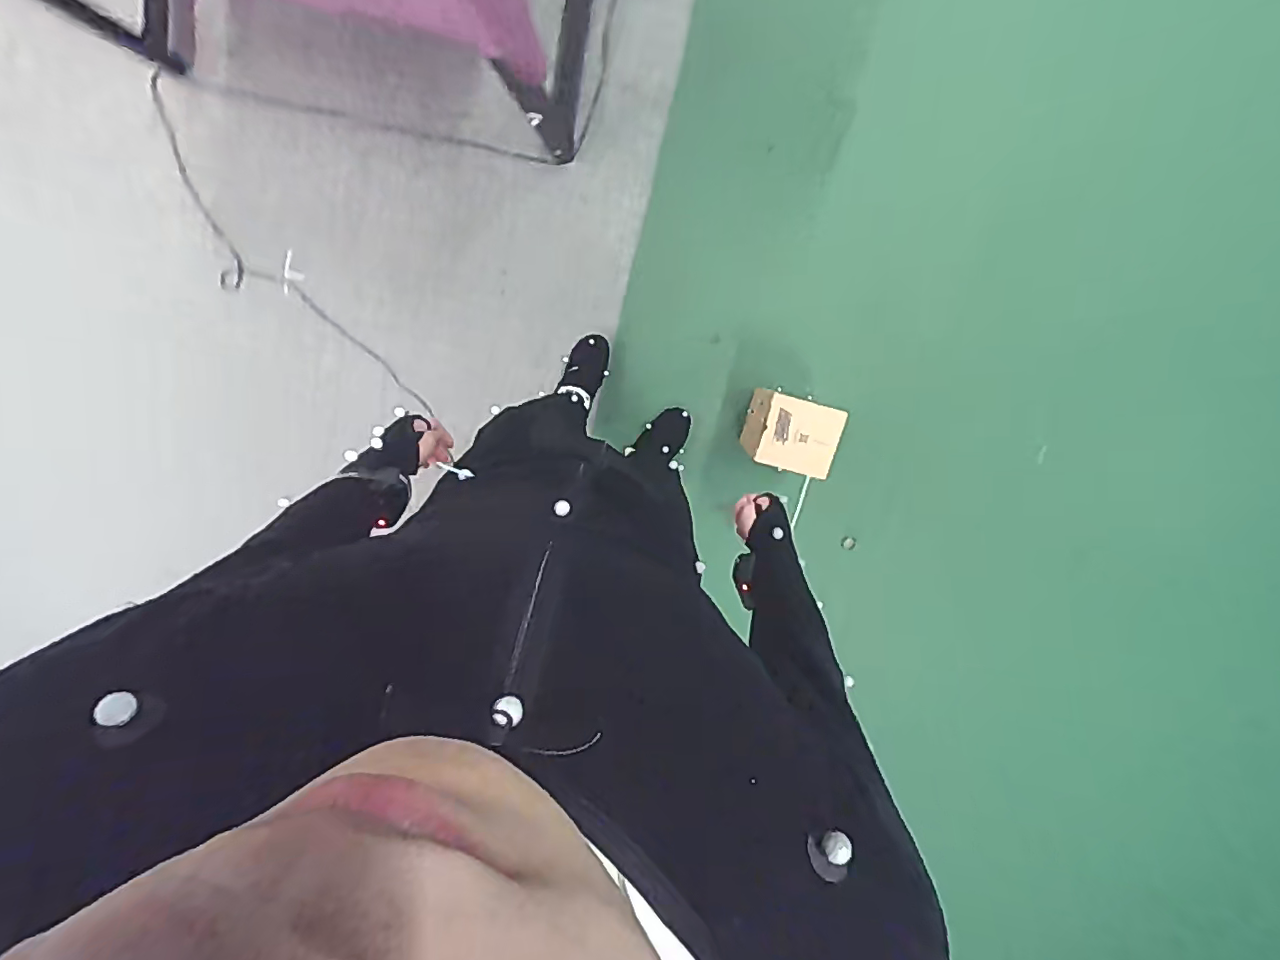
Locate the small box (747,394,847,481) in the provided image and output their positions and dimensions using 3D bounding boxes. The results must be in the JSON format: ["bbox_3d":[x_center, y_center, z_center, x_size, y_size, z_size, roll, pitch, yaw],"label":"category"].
[{"bbox_3d":[0.373,-0.110,1.327,0.179,0.176,0.168,15,103,0],"label":"small box"}]

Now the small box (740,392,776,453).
[{"bbox_3d":[0.386,-0.143,1.487,0.179,0.176,0.168,16,102,2],"label":"small box"}]
